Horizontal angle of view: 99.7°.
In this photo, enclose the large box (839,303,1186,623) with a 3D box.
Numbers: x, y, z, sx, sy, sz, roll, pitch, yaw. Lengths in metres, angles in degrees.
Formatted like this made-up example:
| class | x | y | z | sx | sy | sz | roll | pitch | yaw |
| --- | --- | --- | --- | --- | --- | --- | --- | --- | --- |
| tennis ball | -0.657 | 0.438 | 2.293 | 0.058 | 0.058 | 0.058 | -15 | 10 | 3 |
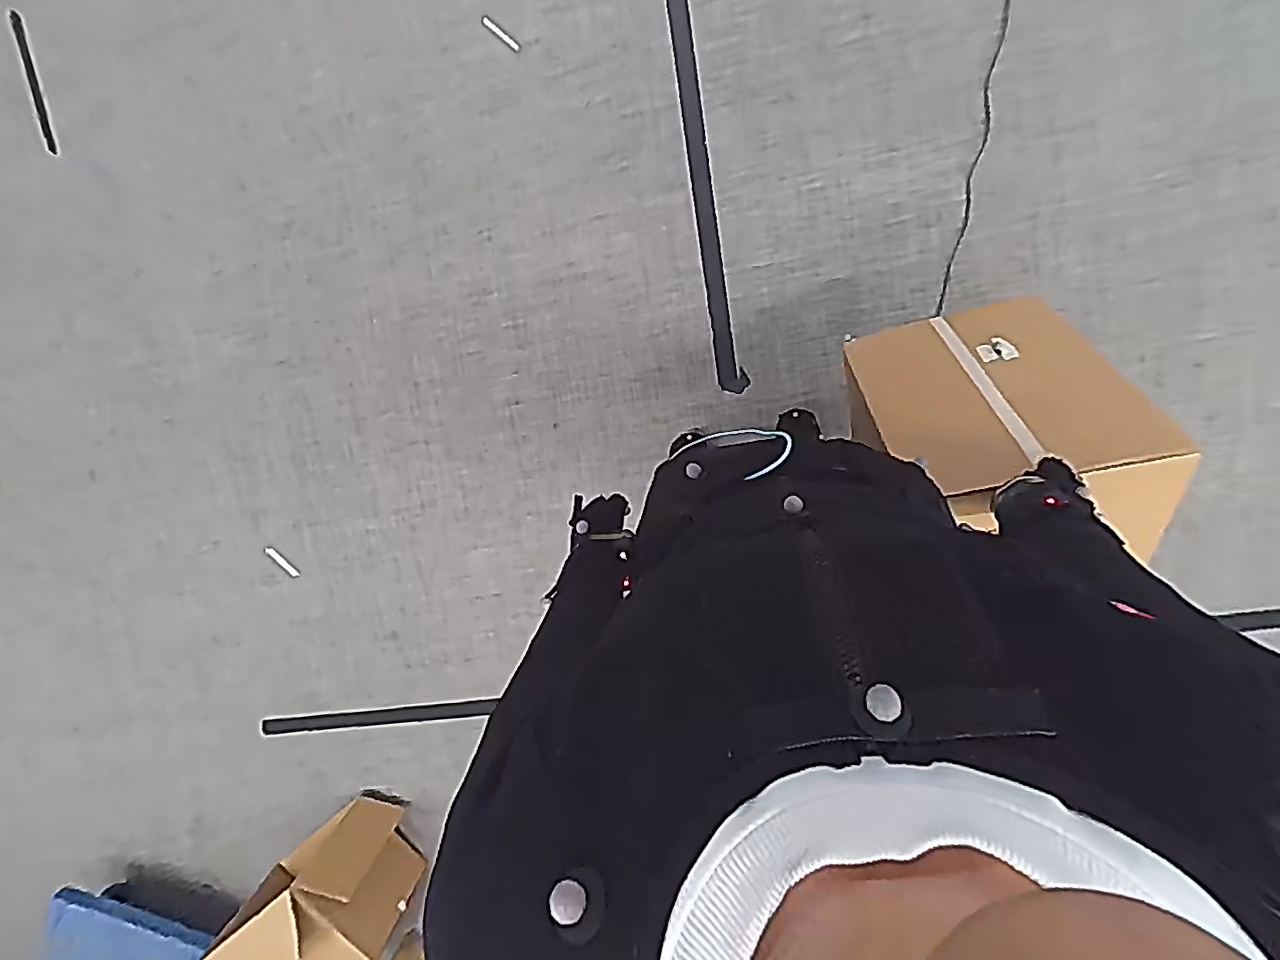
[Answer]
| class | x | y | z | sx | sy | sz | roll | pitch | yaw |
| --- | --- | --- | --- | --- | --- | --- | --- | --- | --- |
| large box | 0.554 | -0.031 | 0.907 | 0.320 | 0.408 | 0.320 | -12 | 131 | 13 |
